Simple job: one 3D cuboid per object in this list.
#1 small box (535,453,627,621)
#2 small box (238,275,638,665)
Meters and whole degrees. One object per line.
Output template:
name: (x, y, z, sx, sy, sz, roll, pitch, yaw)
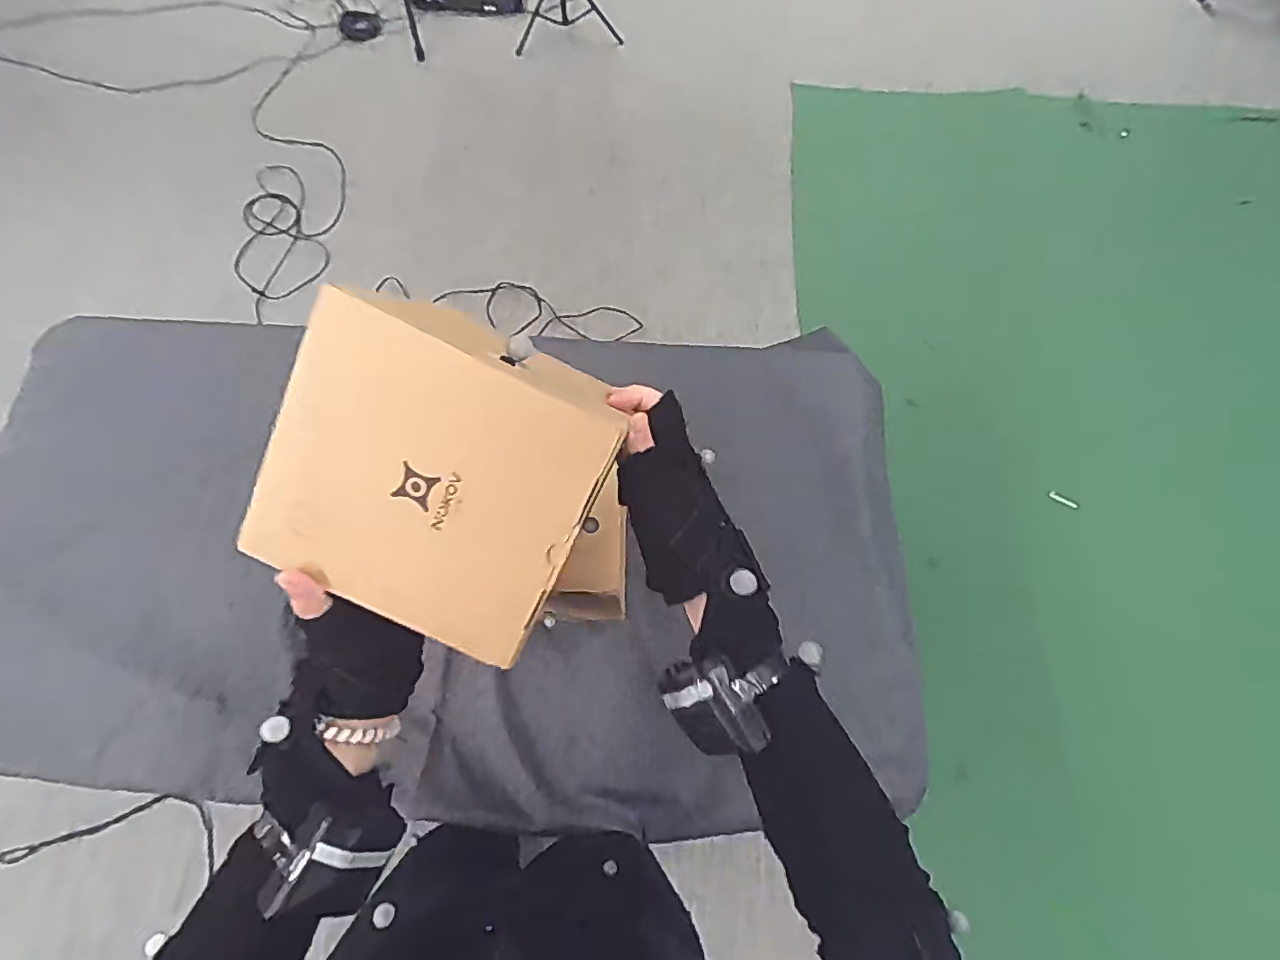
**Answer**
small box: (-0.101, 0.061, 0.630, 0.168, 0.176, 0.179, 0, 67, 0)
small box: (-0.114, -0.015, 0.376, 0.179, 0.176, 0.168, 27, 103, -5)
